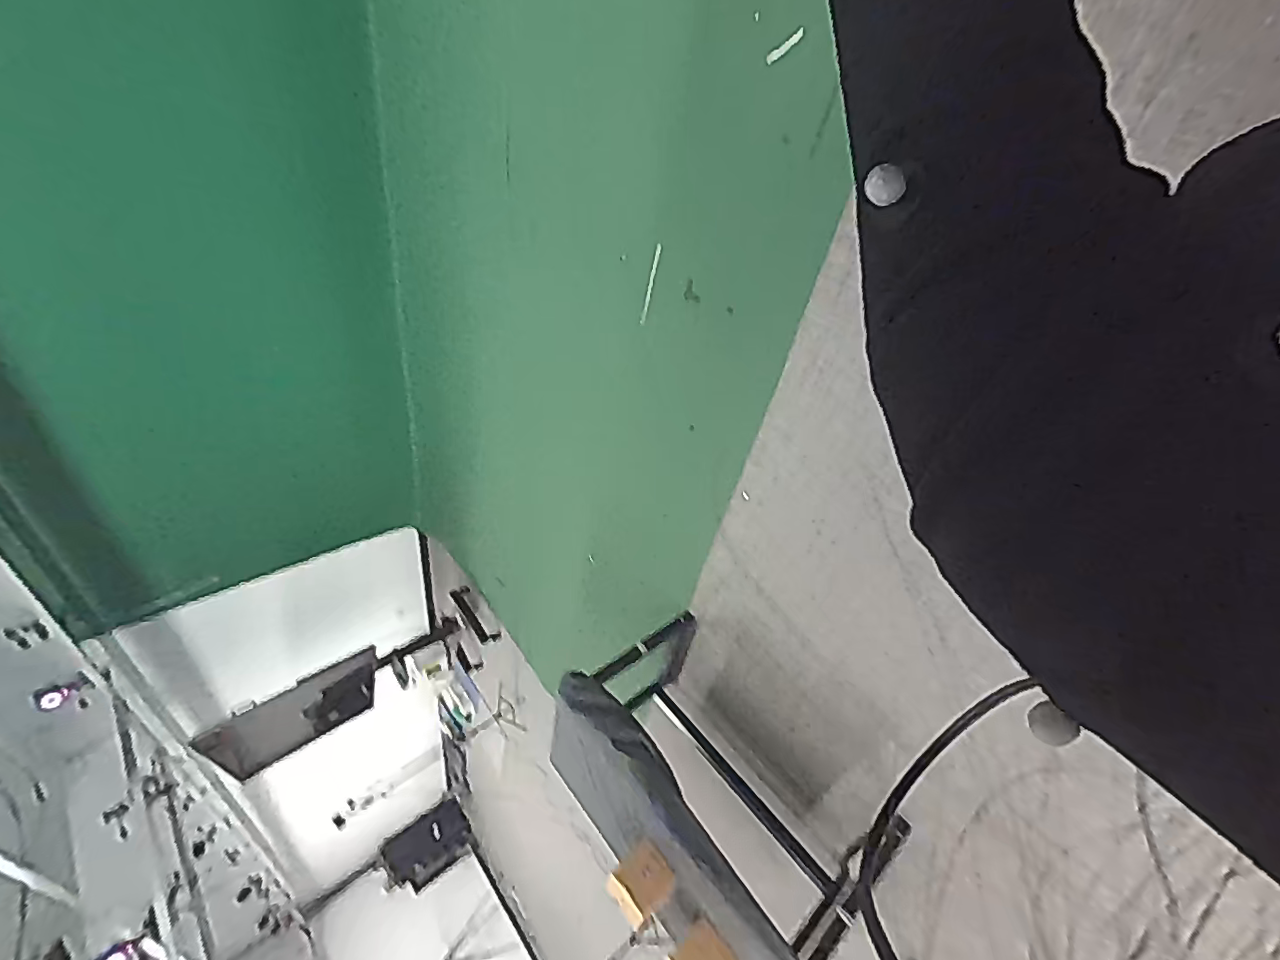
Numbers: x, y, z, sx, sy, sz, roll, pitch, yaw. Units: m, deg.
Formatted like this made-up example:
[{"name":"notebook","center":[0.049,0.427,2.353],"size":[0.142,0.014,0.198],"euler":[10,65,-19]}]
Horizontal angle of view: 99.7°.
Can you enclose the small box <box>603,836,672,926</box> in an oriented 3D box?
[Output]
[{"name":"small box","center":[-0.007,1.403,1.902],"size":[0.168,0.176,0.179],"euler":[40,135,31]}]

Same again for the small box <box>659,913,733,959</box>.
[{"name":"small box","center":[0.183,1.568,1.751],"size":[0.179,0.176,0.168],"euler":[40,135,33]}]
